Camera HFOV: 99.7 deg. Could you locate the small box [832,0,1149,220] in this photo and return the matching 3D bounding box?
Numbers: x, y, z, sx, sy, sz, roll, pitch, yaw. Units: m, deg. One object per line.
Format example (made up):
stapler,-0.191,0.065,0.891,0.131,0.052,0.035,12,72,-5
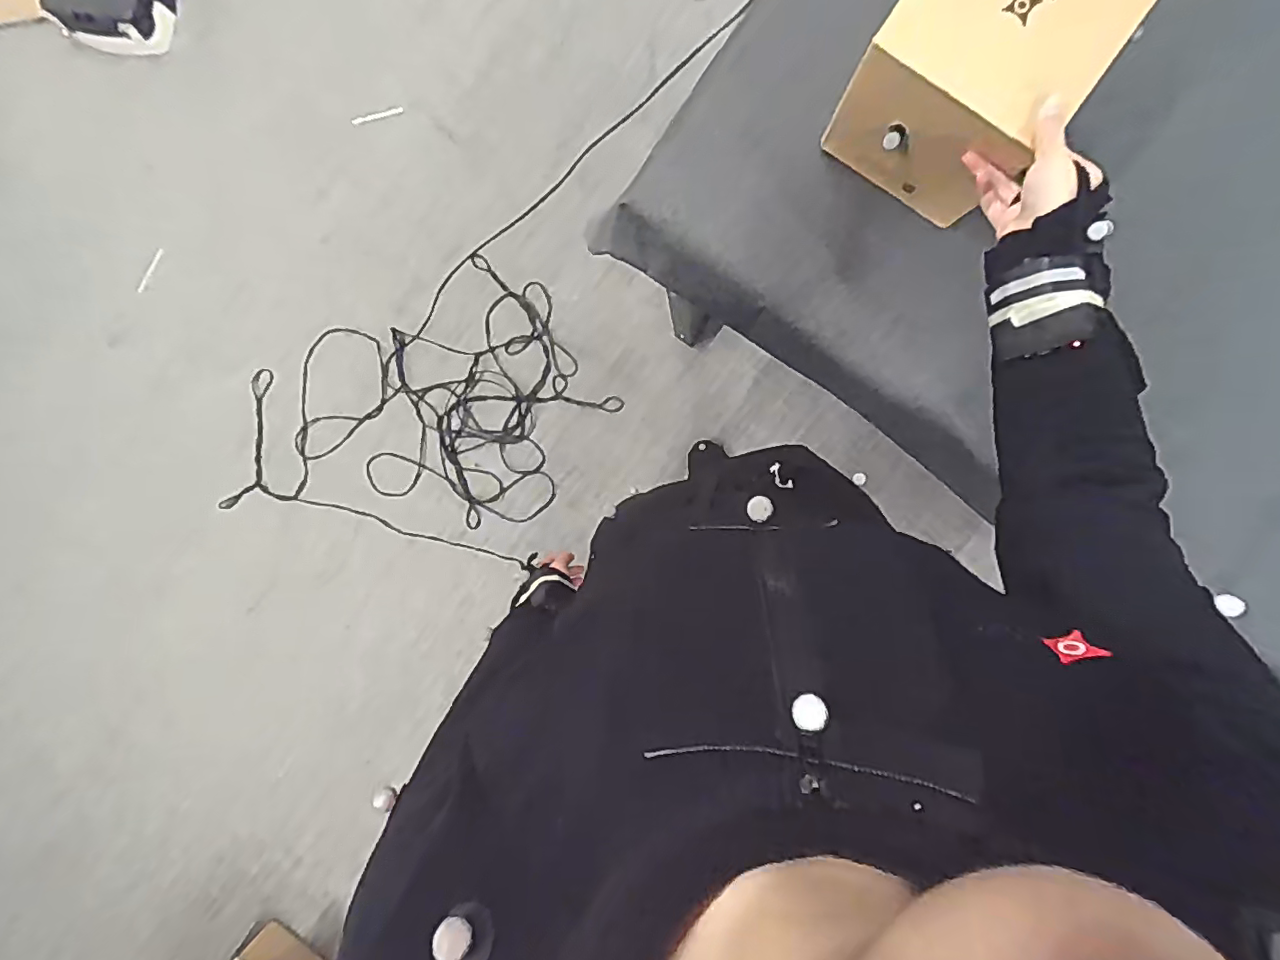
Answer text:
small box,0.300,-0.379,0.494,0.168,0.176,0.179,34,95,1
